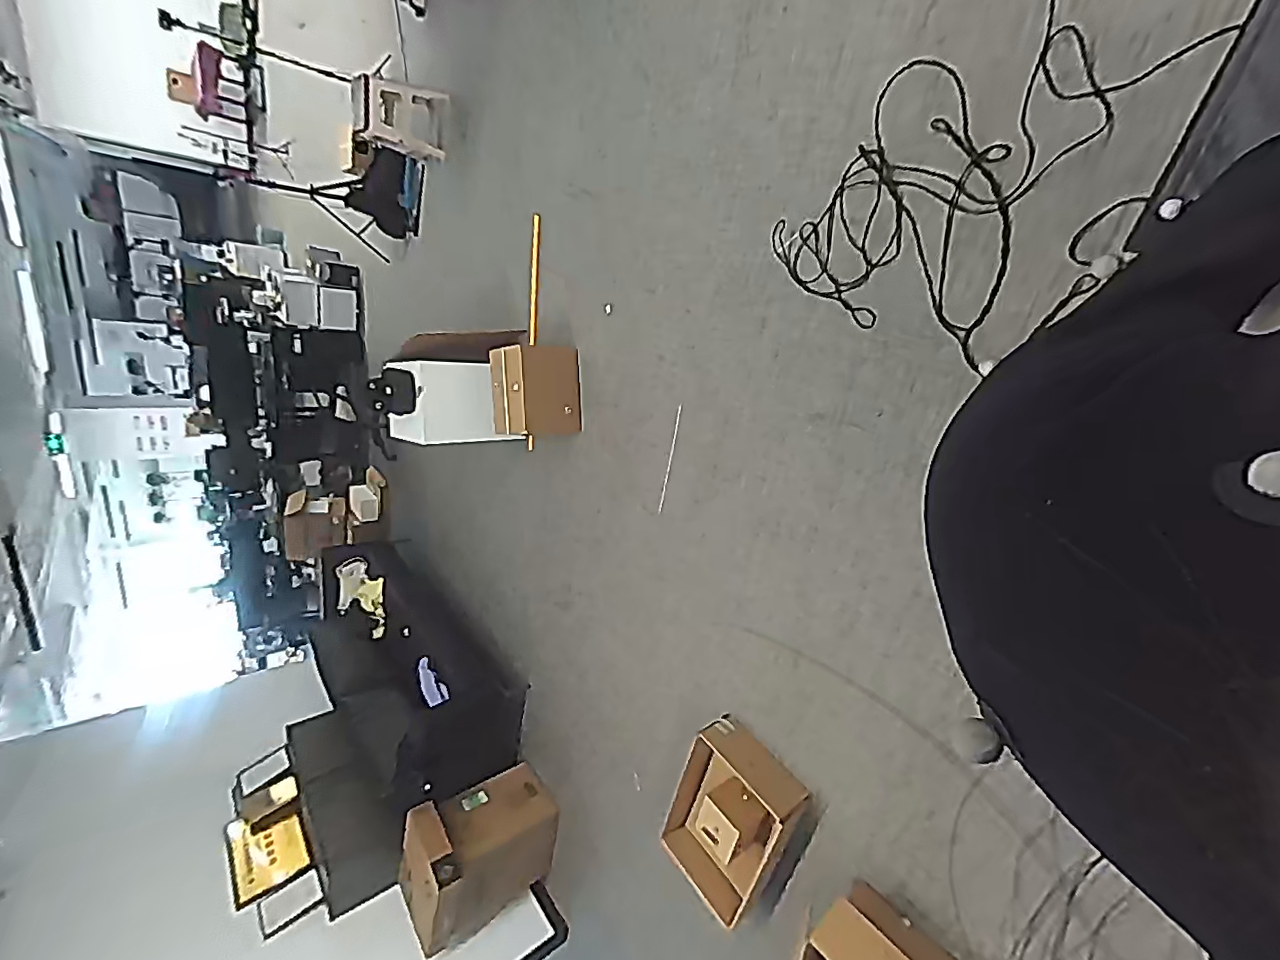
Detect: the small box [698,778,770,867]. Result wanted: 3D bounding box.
[{"bbox_3d":[0.336,1.215,1.927,0.168,0.176,0.179,33,120,42],"label":"small box"}]
